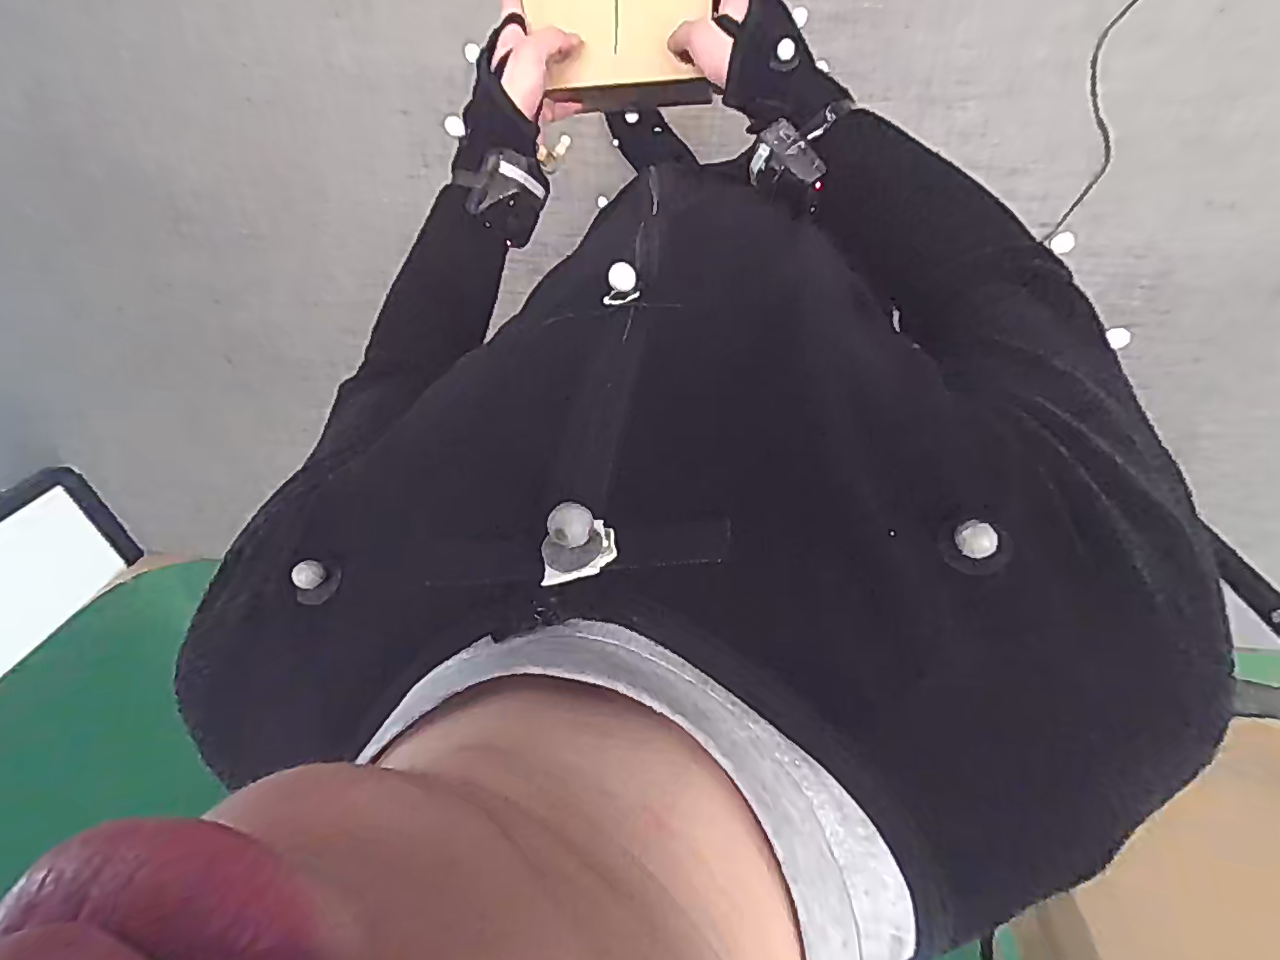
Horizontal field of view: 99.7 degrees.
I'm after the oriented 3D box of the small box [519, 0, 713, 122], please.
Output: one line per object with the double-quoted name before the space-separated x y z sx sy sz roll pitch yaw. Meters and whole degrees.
"small box" -0.016 -0.468 0.530 0.168 0.176 0.179 2 118 9
